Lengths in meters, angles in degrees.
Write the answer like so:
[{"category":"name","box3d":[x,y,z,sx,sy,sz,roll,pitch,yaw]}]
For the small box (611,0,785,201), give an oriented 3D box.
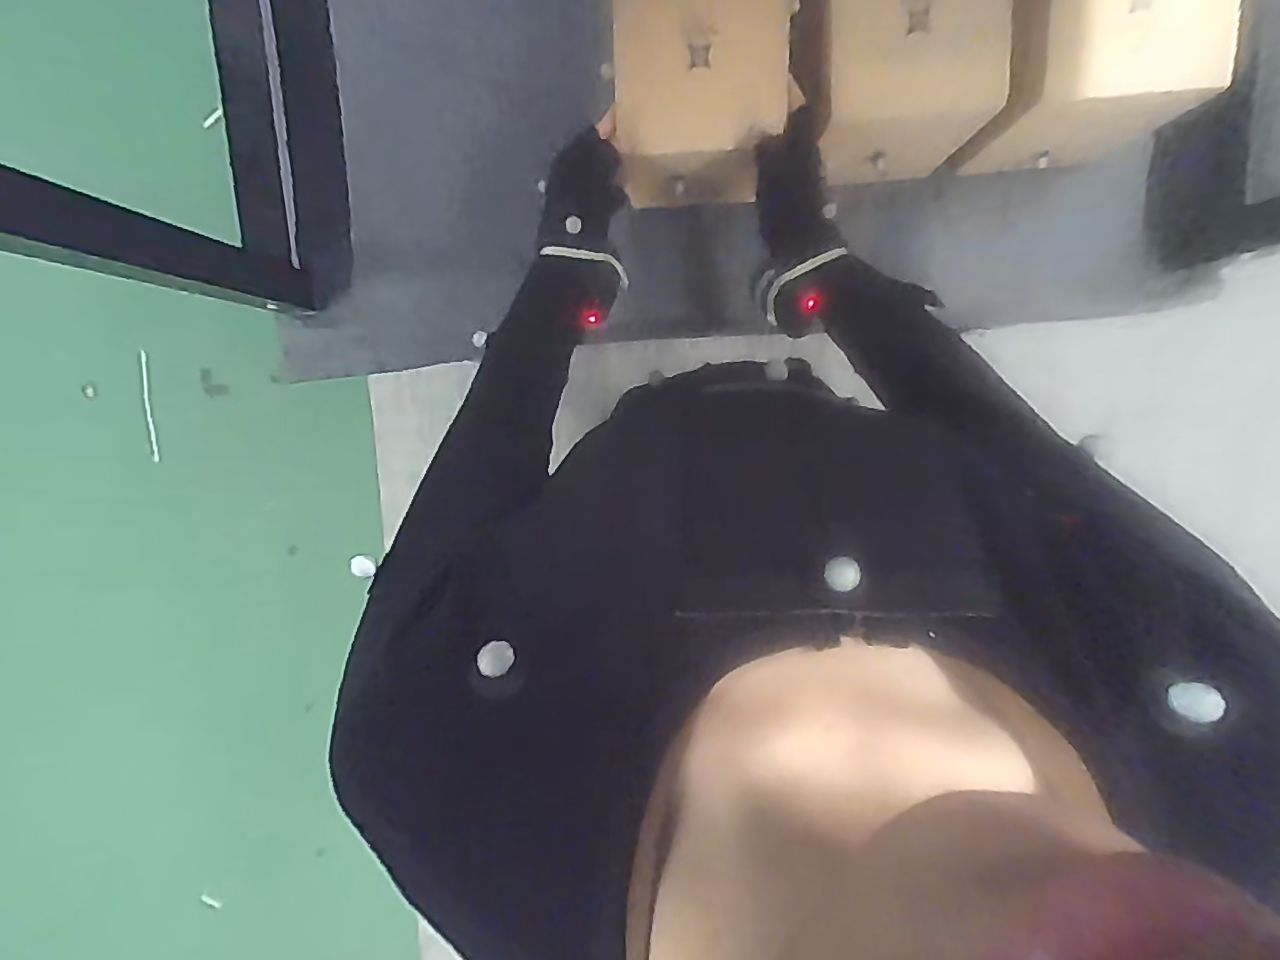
[{"category":"small box","box3d":[0.062,-0.422,0.593,0.168,0.176,0.179,-1,100,5]}]
